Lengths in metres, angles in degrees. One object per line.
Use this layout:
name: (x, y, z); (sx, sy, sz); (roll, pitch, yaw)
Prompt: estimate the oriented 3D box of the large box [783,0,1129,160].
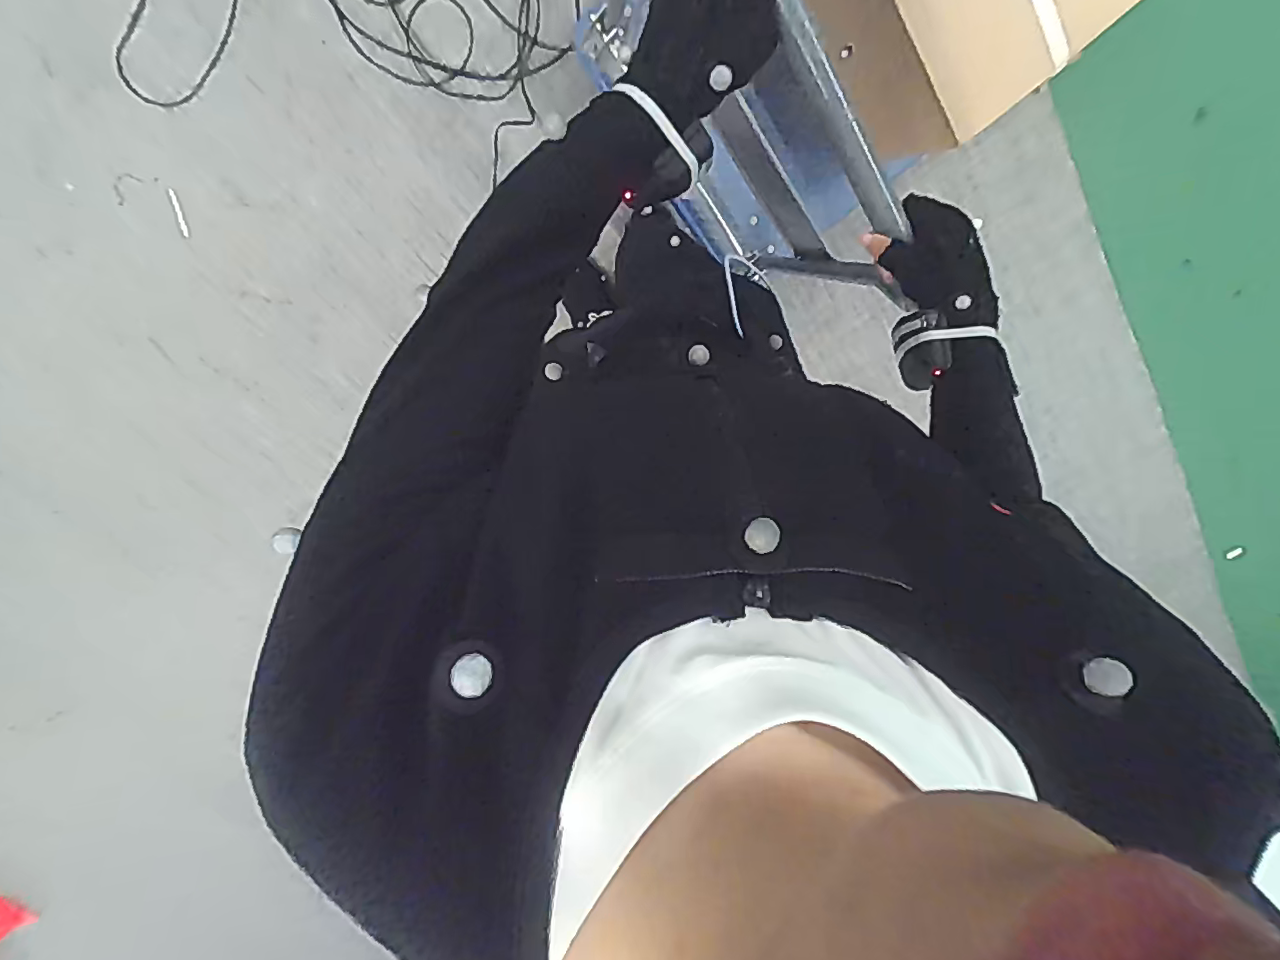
large box: (0.462, -0.796, 0.846); (0.320, 0.320, 0.408); (-38, 112, 13)
